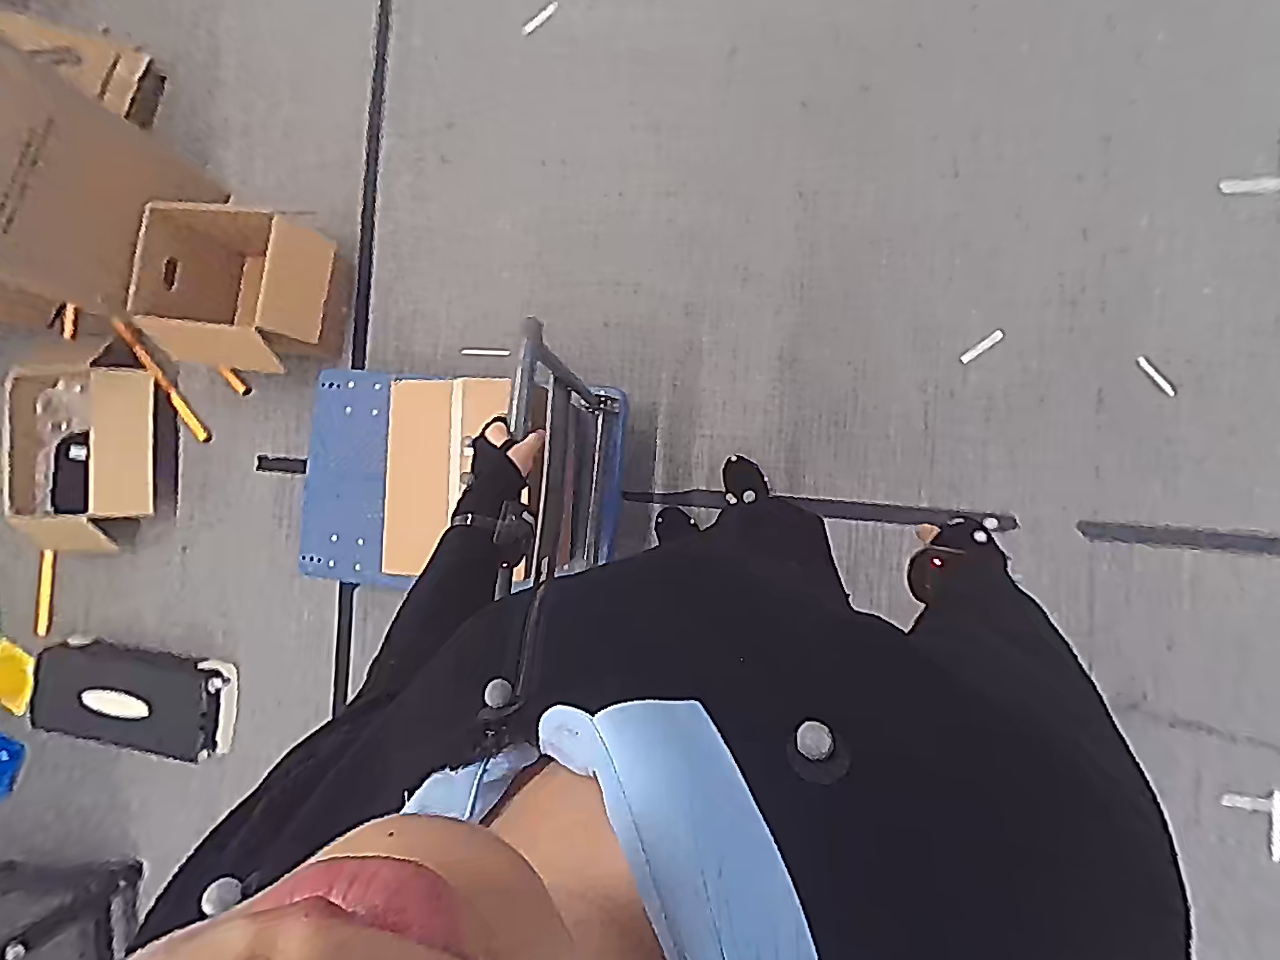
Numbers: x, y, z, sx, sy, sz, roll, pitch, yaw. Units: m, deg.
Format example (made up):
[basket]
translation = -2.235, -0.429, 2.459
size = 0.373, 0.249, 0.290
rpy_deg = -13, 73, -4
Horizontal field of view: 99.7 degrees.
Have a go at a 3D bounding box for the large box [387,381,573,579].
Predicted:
[large box]
translation = -0.345, 0.009, 1.246
size = 0.320, 0.320, 0.408
rpy_deg = 1, 87, 9
